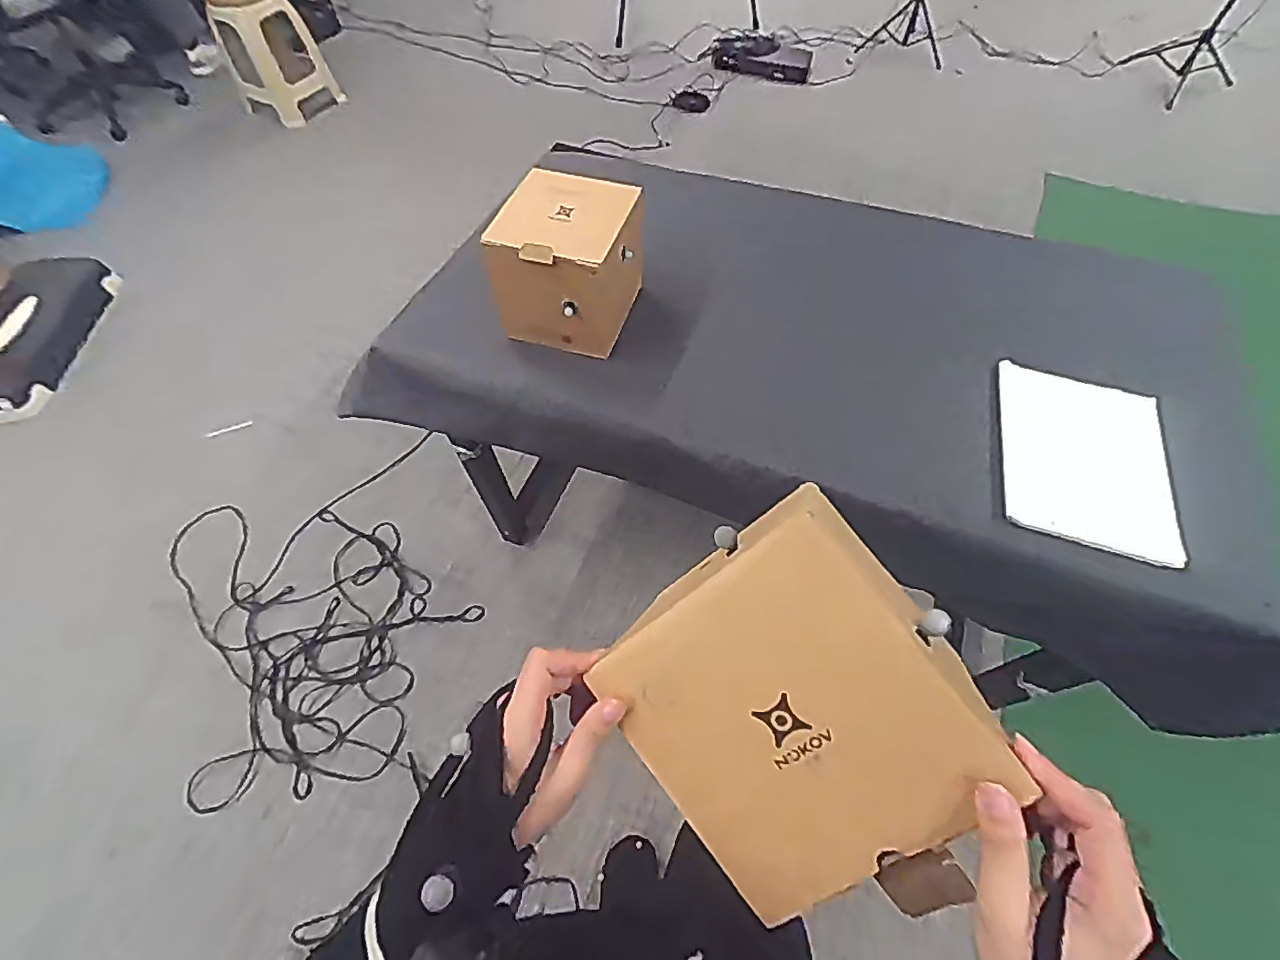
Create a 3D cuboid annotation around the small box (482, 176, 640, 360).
[{"bbox_3d":[-0.100,-0.302,0.785,0.168,0.176,0.179,15,58,8],"label":"small box"}]
